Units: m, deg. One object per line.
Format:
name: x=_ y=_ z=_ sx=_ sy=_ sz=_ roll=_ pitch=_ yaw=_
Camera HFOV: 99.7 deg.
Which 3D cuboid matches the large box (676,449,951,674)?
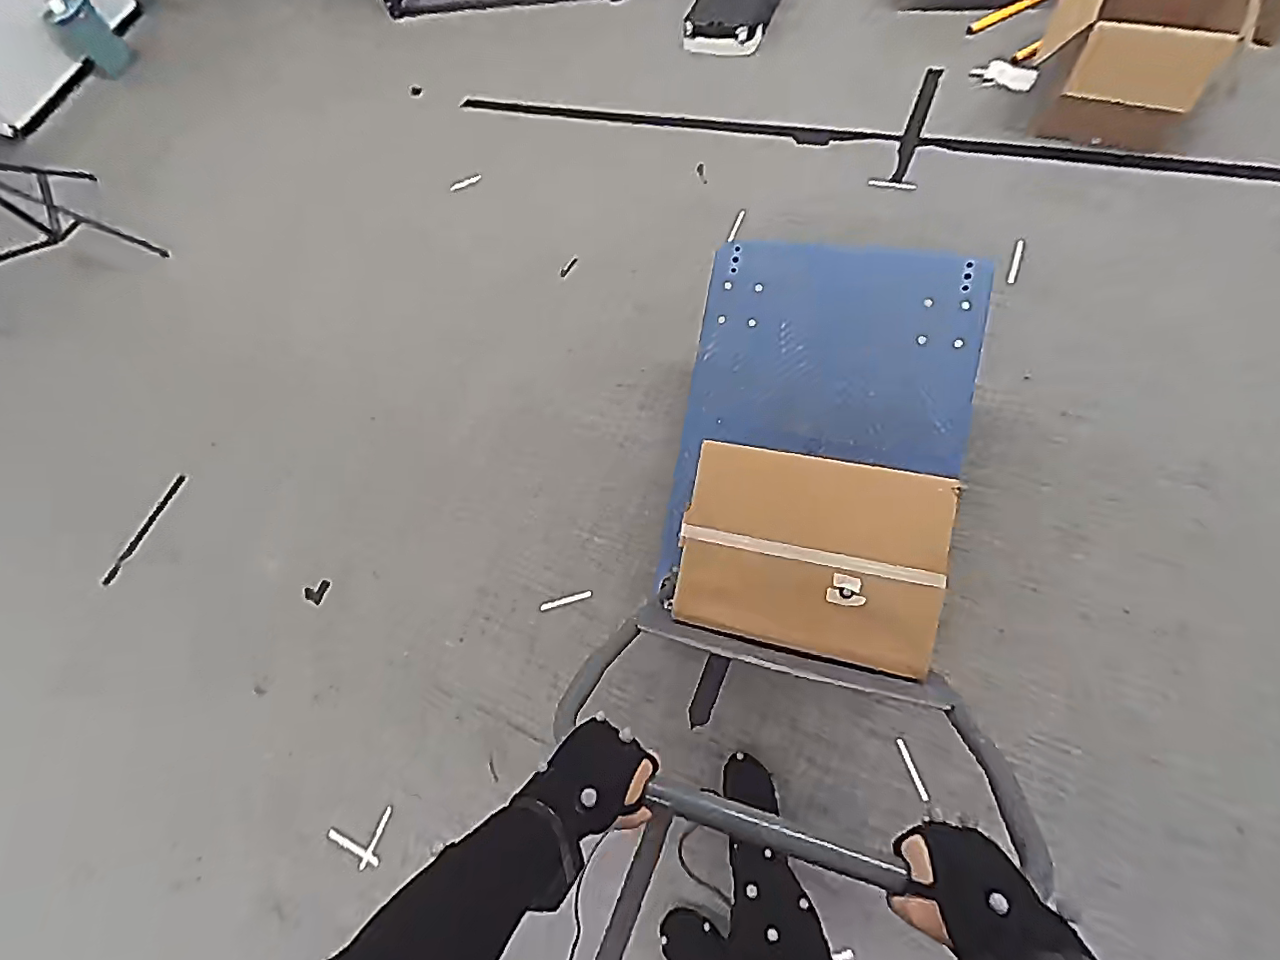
large box: x=0.307 y=0.134 z=1.035 sx=0.408 sy=0.320 sz=0.320 roll=10 pitch=90 yaw=14
